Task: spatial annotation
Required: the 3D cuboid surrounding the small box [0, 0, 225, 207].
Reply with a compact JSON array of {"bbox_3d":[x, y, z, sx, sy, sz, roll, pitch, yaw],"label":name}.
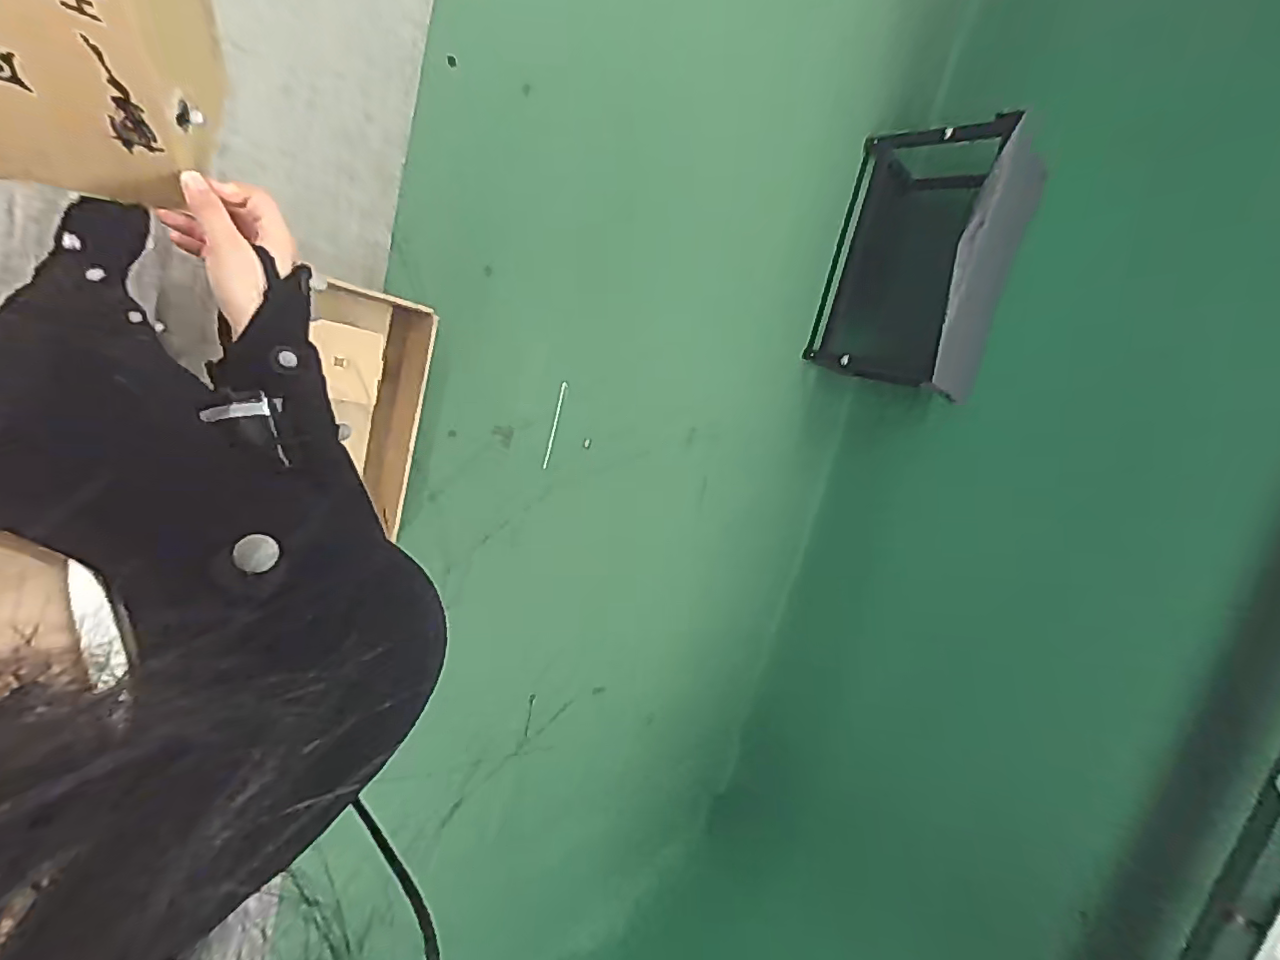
[{"bbox_3d":[-0.399,-0.318,0.343,0.179,0.176,0.168,2,152,-25],"label":"small box"}]
